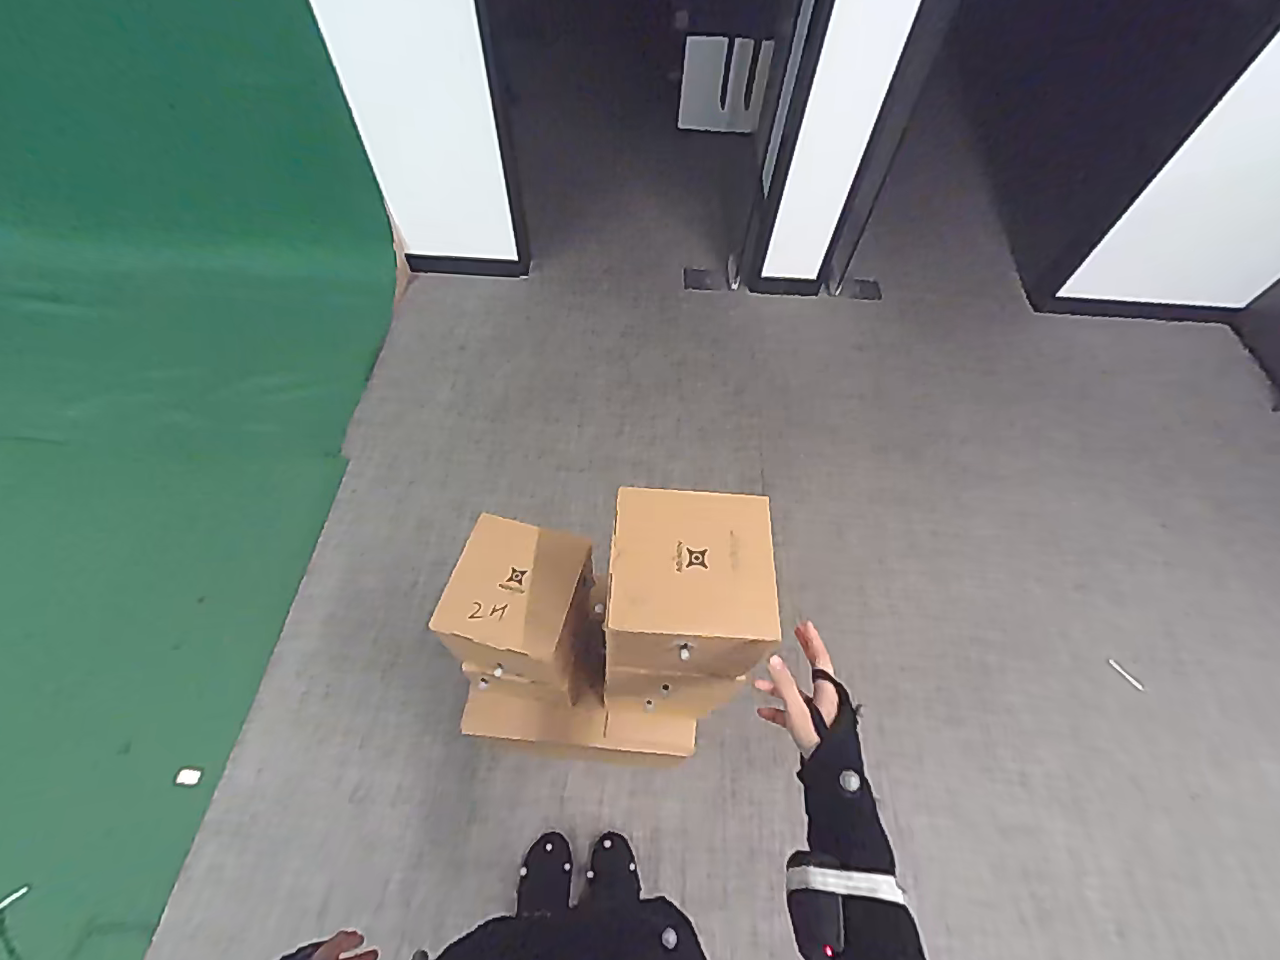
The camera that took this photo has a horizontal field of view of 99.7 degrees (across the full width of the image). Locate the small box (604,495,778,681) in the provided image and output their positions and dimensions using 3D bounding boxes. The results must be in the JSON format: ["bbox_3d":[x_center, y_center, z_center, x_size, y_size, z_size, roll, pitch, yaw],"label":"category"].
[{"bbox_3d":[0.052,0.134,0.642,0.179,0.176,0.168,5,58,-1],"label":"small box"}]
